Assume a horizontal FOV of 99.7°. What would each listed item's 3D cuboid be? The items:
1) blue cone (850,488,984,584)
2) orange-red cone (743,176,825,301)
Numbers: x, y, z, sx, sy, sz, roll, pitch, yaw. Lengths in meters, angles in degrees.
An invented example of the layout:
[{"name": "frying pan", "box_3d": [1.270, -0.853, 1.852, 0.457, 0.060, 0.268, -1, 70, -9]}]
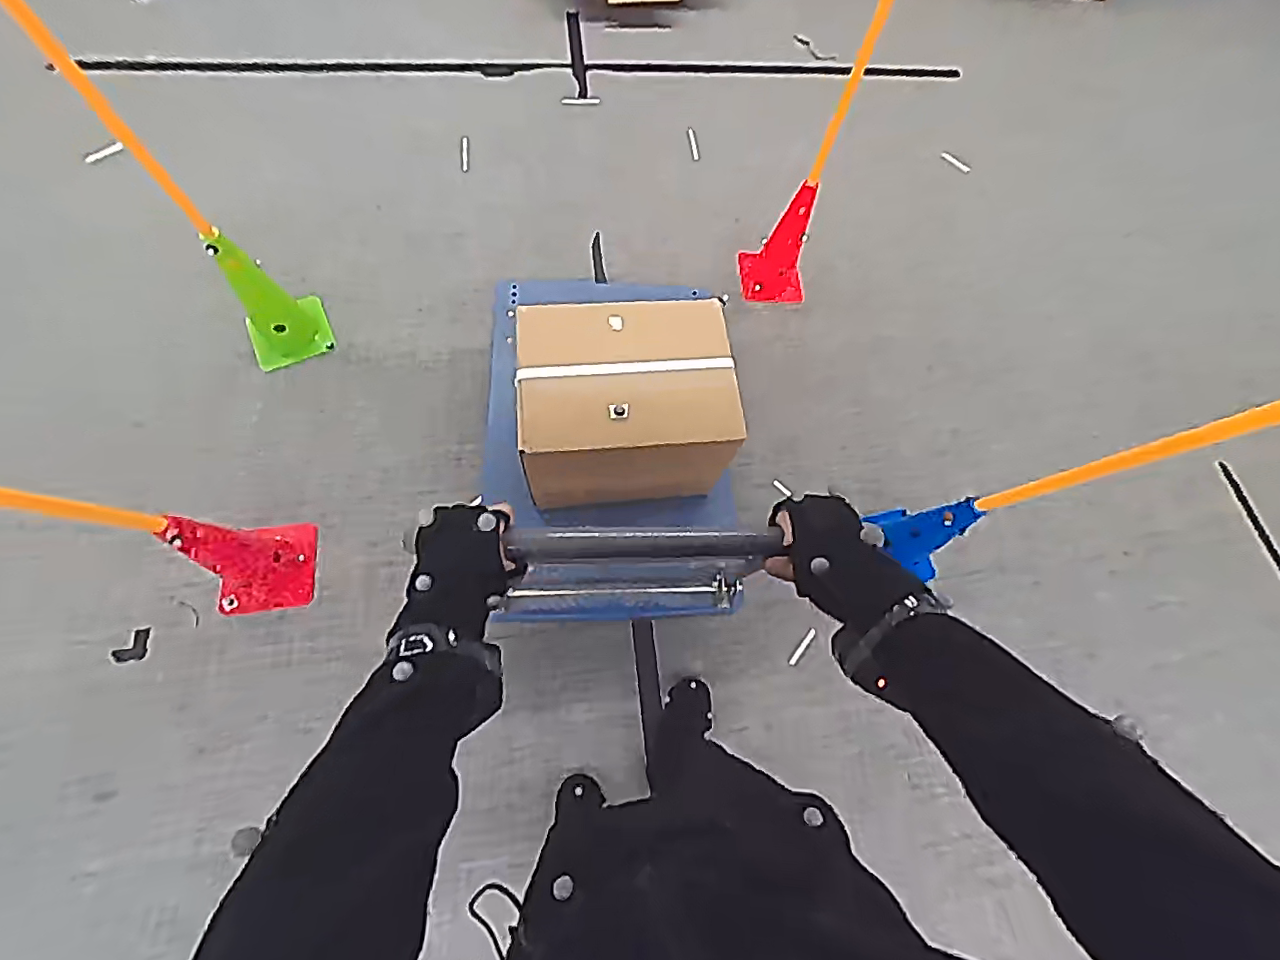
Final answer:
[{"name": "blue cone", "box_3d": [0.686, 0.113, 1.289, 0.193, 0.380, 0.192, -8, 69, -9]}, {"name": "orange-red cone", "box_3d": [0.449, -0.719, 1.575, 0.199, 0.360, 0.198, 2, 69, -6]}]
